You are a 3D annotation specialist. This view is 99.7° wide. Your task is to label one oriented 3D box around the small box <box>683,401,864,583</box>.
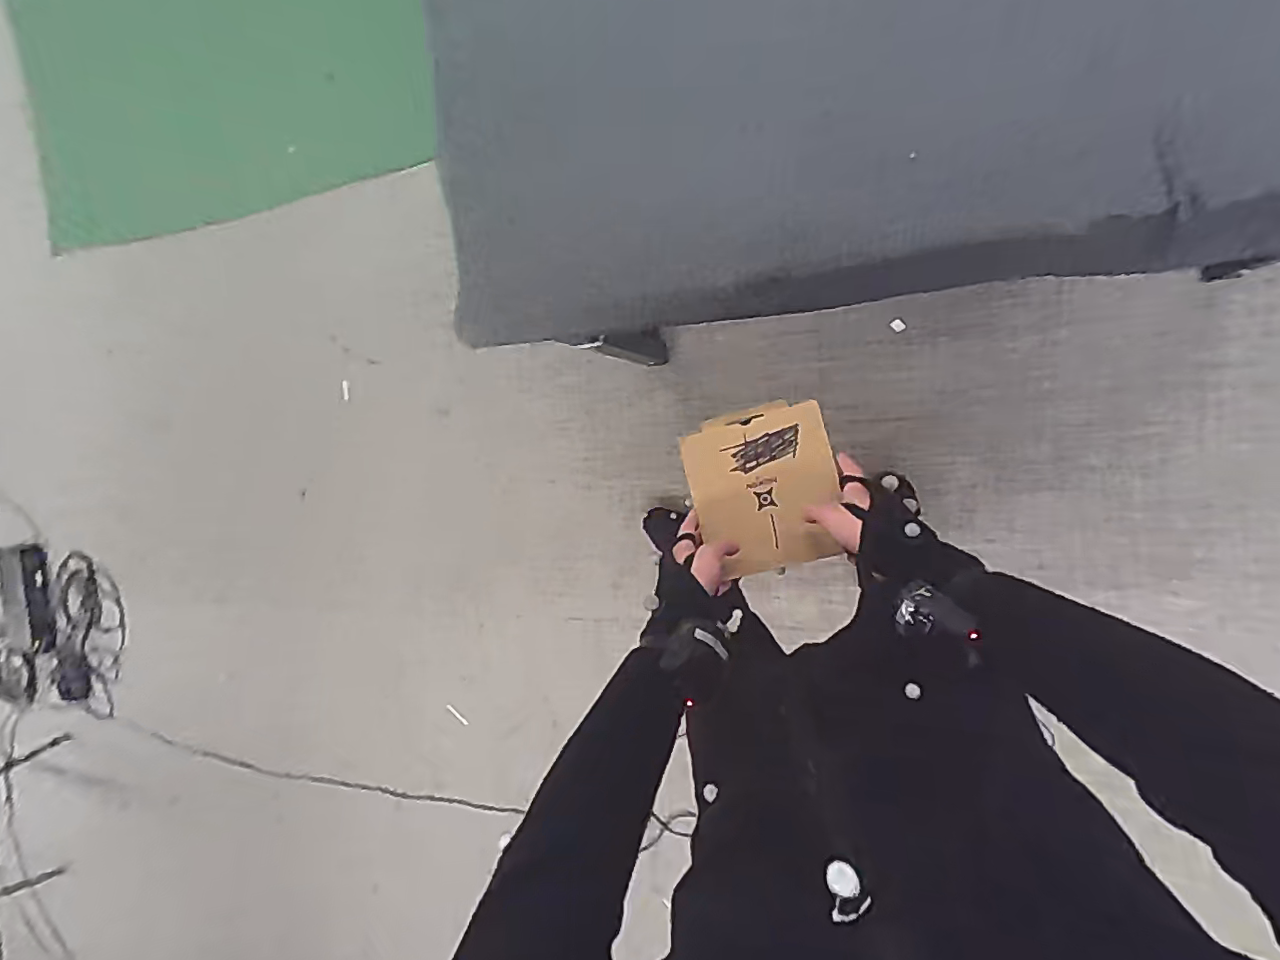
[{"bbox_3d":[0.162,0.021,0.678,0.168,0.176,0.179,-15,82,12],"label":"small box"}]
